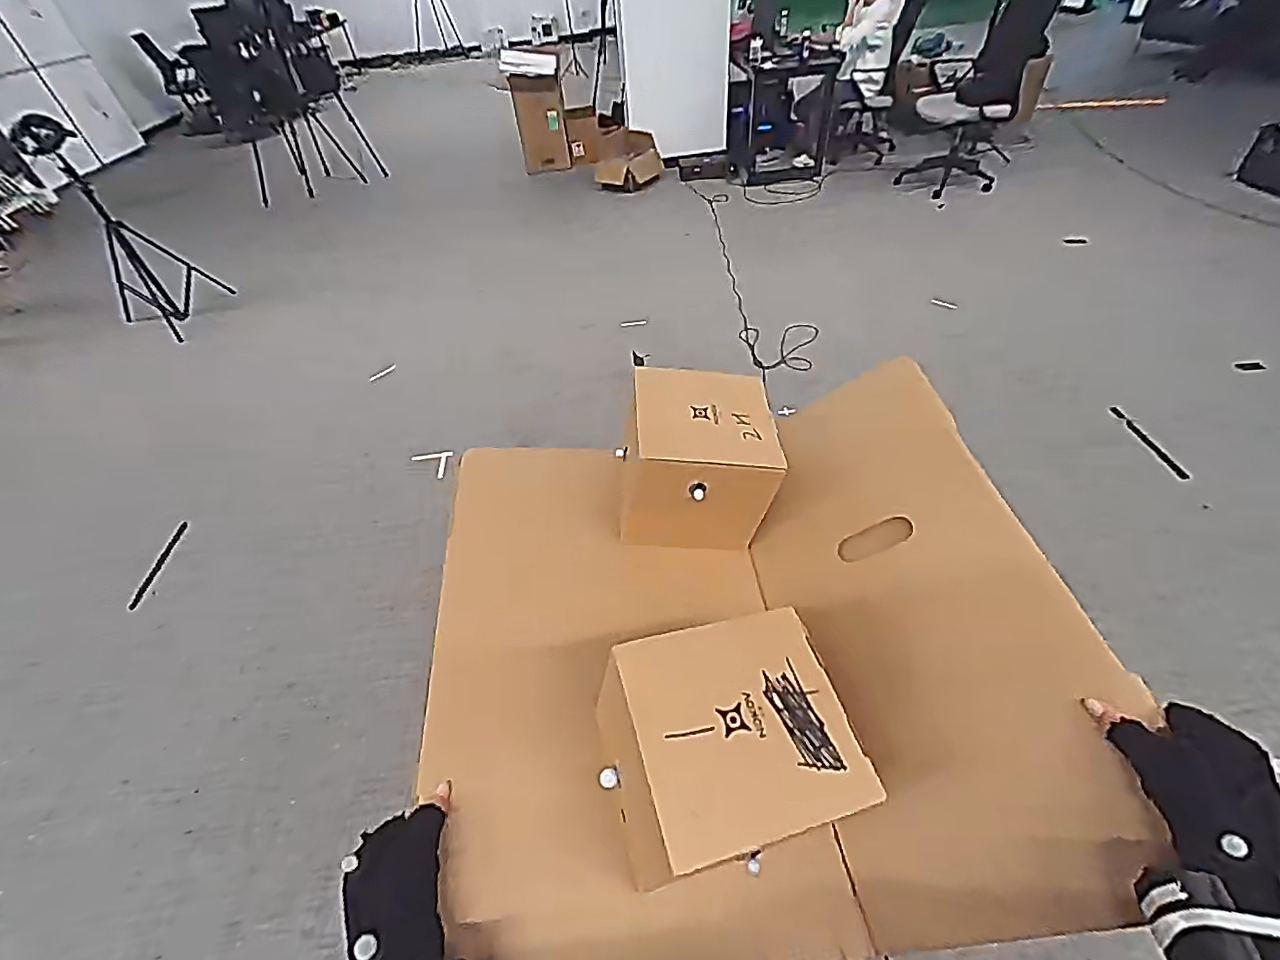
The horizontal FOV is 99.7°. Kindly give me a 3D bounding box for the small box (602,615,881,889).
[{"bbox_3d":[0.072,0.248,0.497,0.179,0.176,0.168,-8,52,-16],"label":"small box"}]

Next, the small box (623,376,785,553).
[{"bbox_3d":[0.070,-0.016,0.726,0.179,0.176,0.168,5,49,-8],"label":"small box"}]
